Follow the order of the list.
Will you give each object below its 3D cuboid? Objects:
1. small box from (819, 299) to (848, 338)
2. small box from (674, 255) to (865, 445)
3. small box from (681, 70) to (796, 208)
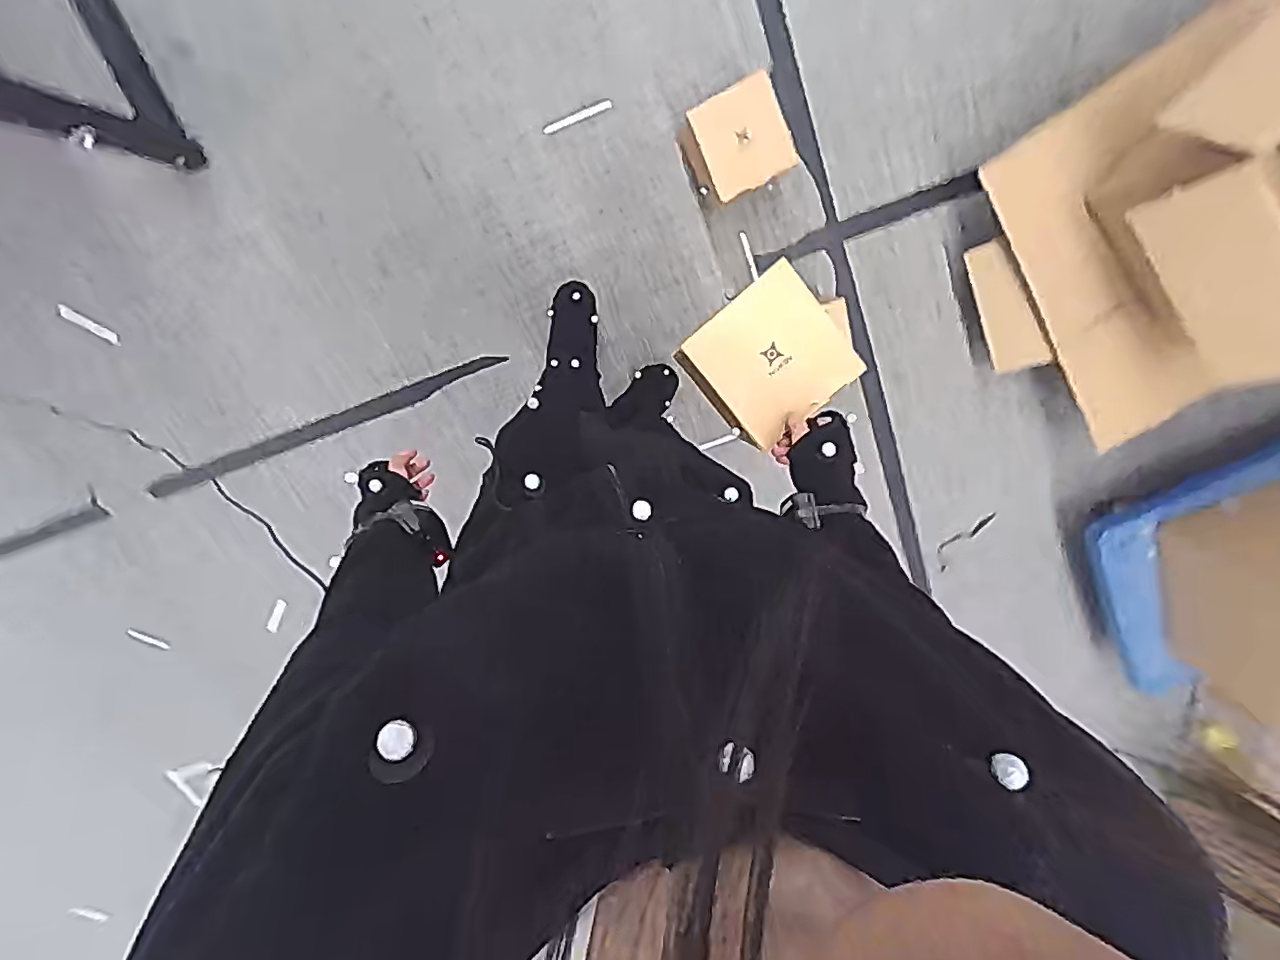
[{"bbox_3d":[0.371,-0.313,1.253,0.168,0.176,0.179,-15,110,4],"label":"small box"},{"bbox_3d":[0.163,-0.170,0.746,0.168,0.176,0.179,-40,99,6],"label":"small box"},{"bbox_3d":[0.197,-0.685,1.116,0.168,0.176,0.179,-25,107,7],"label":"small box"}]
